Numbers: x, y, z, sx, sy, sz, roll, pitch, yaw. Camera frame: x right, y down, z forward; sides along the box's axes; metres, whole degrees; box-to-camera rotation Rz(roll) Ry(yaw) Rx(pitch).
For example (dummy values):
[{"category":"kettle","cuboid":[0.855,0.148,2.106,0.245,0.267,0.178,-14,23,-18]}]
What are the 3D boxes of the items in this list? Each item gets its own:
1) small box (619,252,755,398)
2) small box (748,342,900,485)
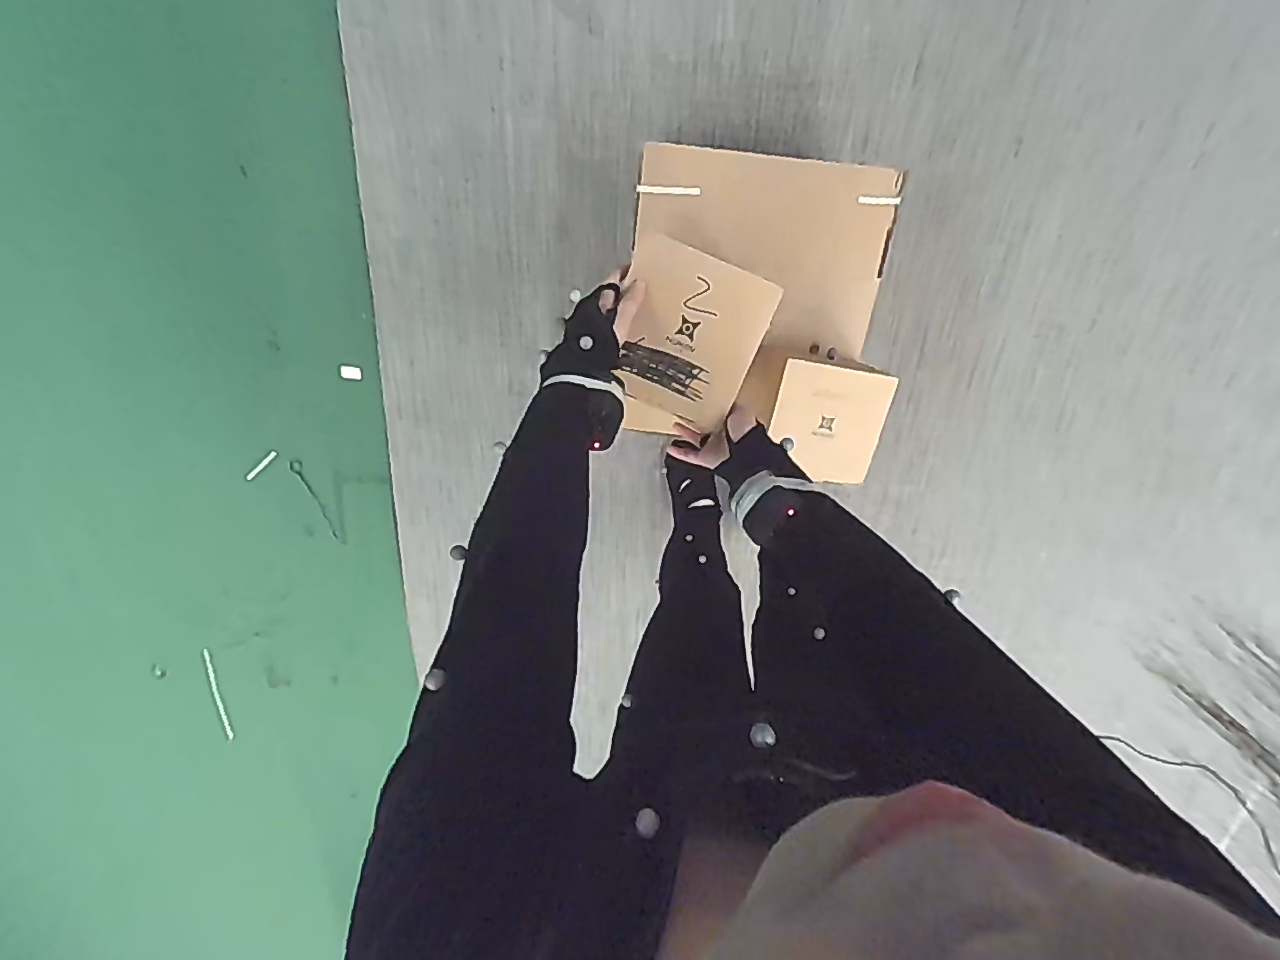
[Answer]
[{"category":"small box","cuboid":[0.067,-0.239,0.832,0.168,0.176,0.179,10,110,1]},{"category":"small box","cuboid":[0.277,-0.113,0.866,0.168,0.176,0.179,10,110,-2]}]
